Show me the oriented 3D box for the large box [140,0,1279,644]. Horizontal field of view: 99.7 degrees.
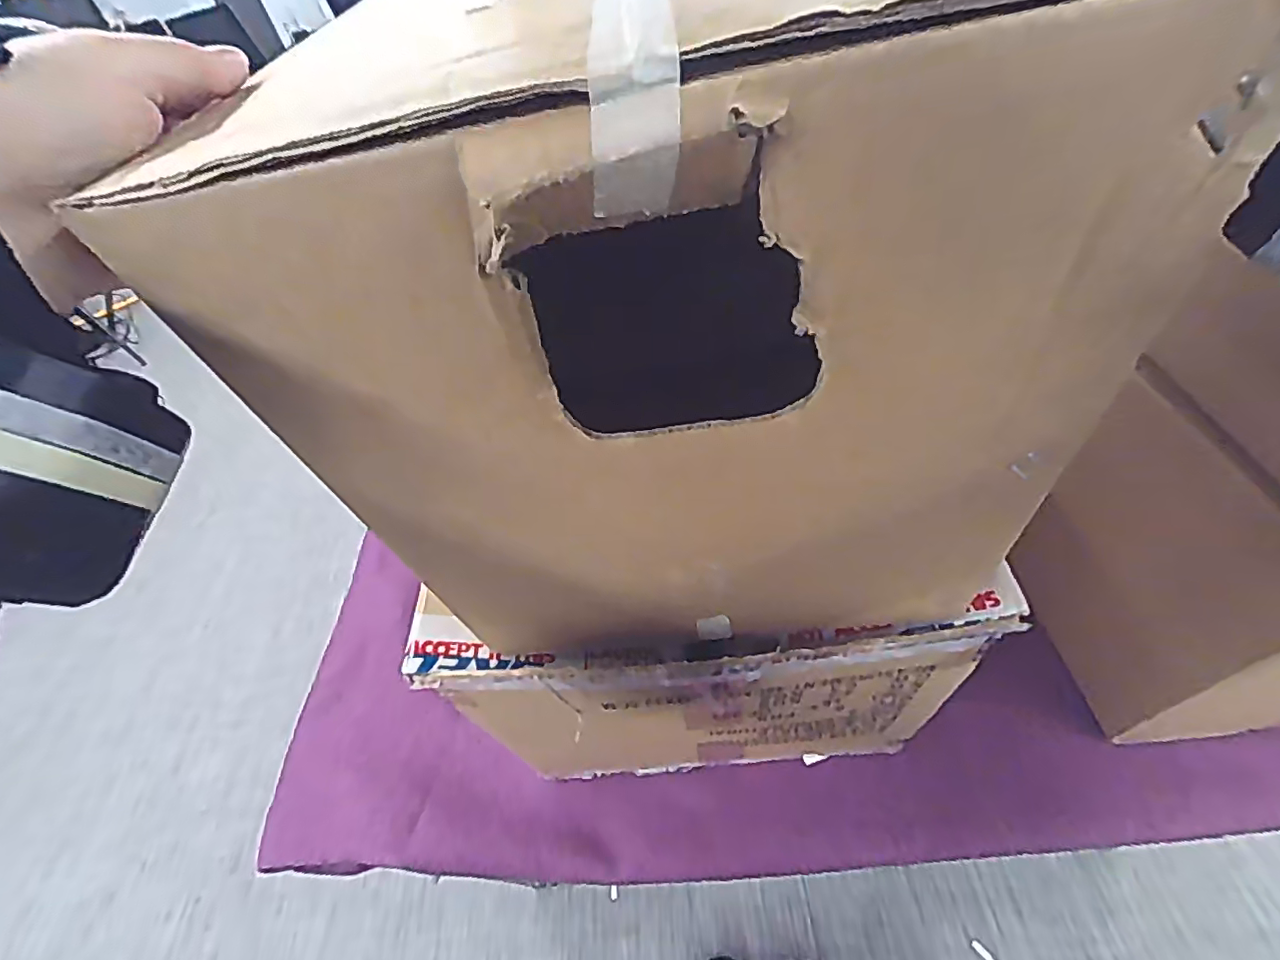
[{"bbox_3d":[0.030,-0.148,0.366,0.320,0.320,0.408,-8,51,7],"label":"large box"}]
